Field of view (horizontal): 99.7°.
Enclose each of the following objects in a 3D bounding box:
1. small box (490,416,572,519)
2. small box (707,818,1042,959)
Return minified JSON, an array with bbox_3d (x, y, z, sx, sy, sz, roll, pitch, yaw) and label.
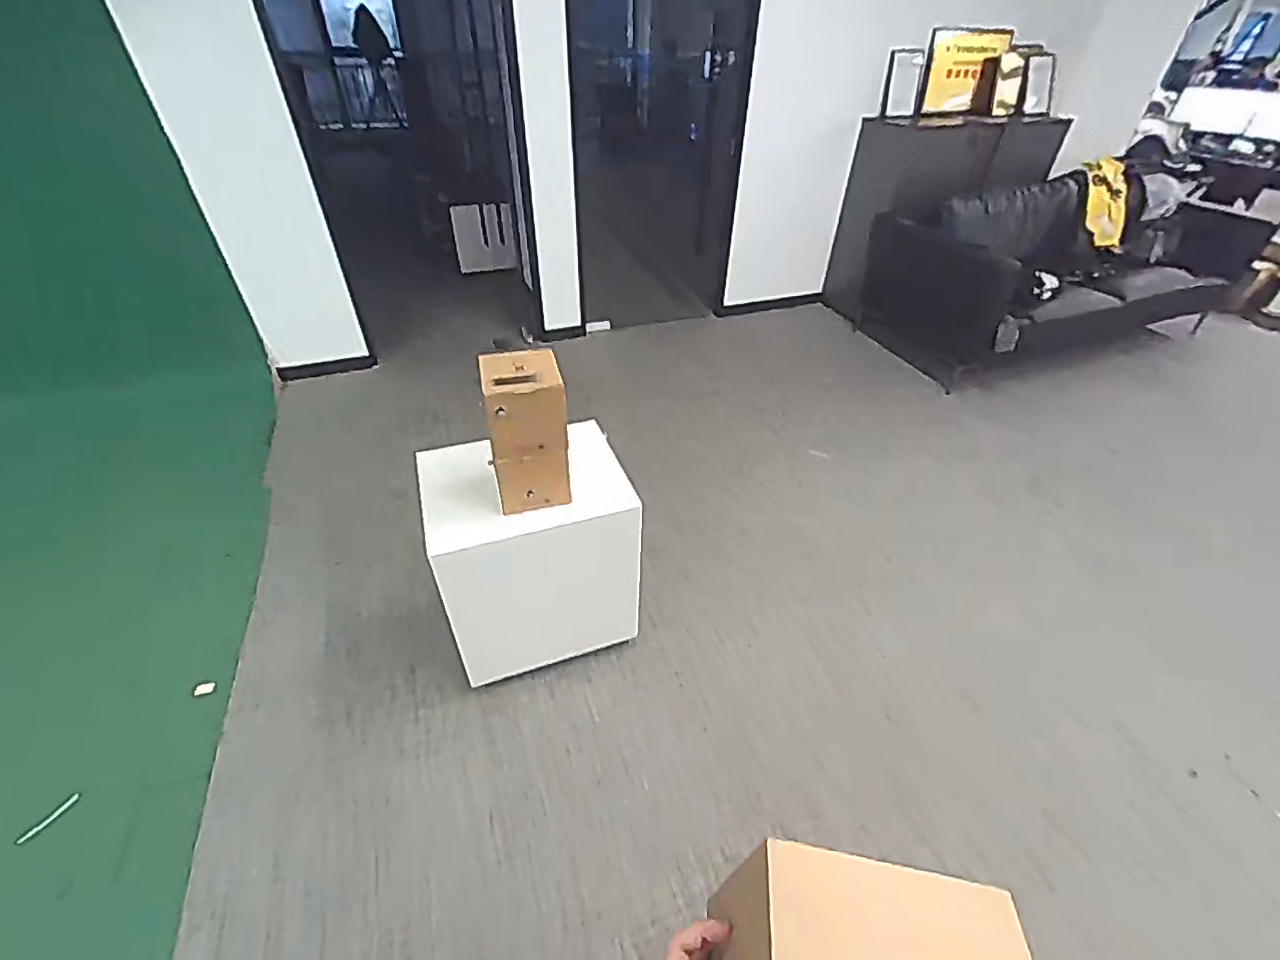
[{"bbox_3d":[-0.264,-0.031,1.311,0.168,0.176,0.179,-11,40,-14],"label":"small box"},{"bbox_3d":[0.136,0.352,0.333,0.168,0.176,0.179,12,38,2],"label":"small box"}]
